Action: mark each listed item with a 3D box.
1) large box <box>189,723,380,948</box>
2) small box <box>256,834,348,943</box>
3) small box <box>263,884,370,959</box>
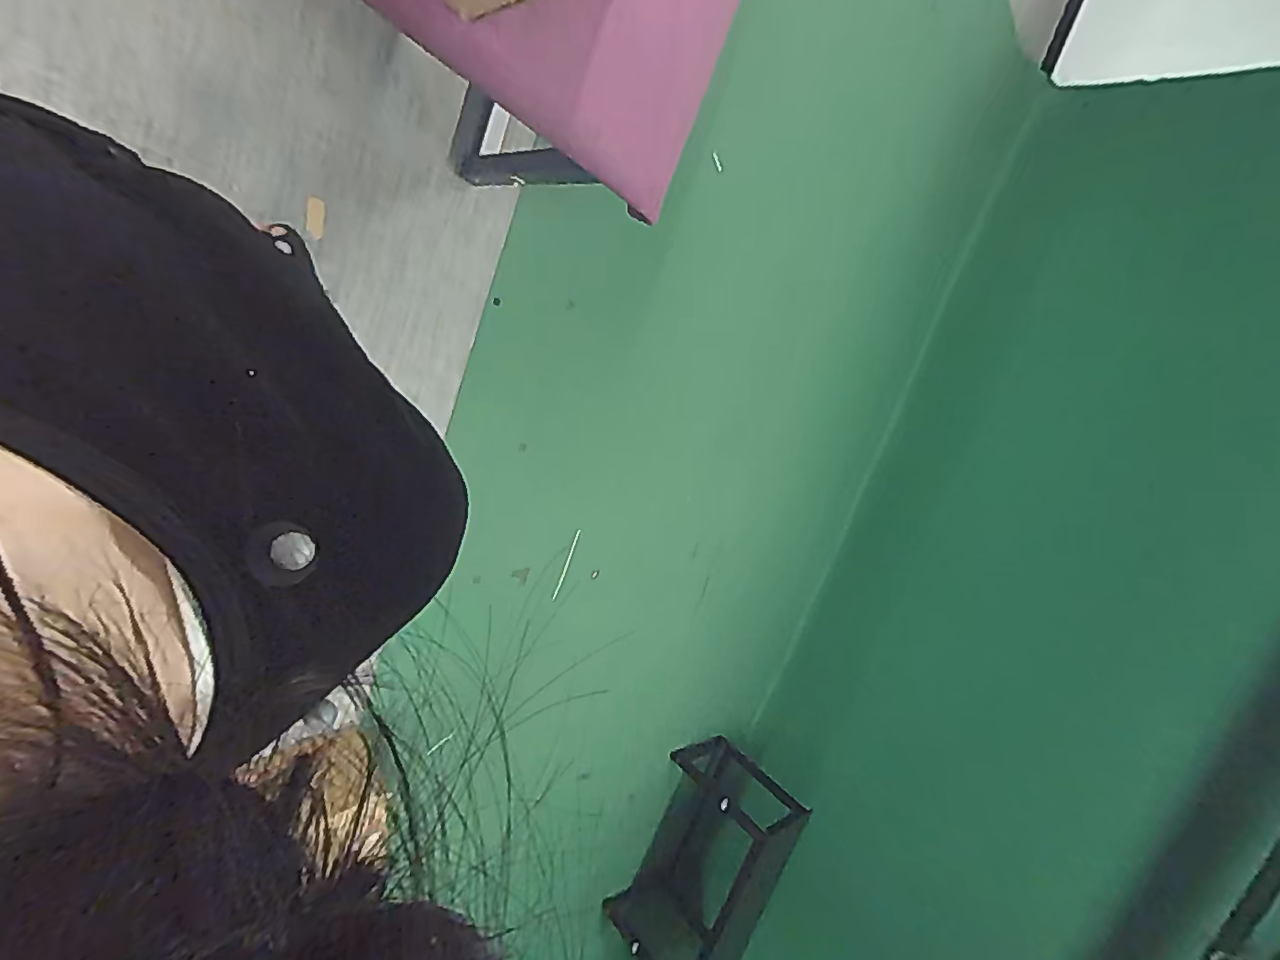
[{"bbox_3d":[-1.031,1.004,1.588,0.408,0.320,0.320,-9,118,-44],"label":"large box"},{"bbox_3d":[-0.879,1.065,1.400,0.168,0.176,0.179,-1,111,-45],"label":"small box"},{"bbox_3d":[-0.775,1.128,1.293,0.179,0.176,0.168,1,110,-45],"label":"small box"}]
